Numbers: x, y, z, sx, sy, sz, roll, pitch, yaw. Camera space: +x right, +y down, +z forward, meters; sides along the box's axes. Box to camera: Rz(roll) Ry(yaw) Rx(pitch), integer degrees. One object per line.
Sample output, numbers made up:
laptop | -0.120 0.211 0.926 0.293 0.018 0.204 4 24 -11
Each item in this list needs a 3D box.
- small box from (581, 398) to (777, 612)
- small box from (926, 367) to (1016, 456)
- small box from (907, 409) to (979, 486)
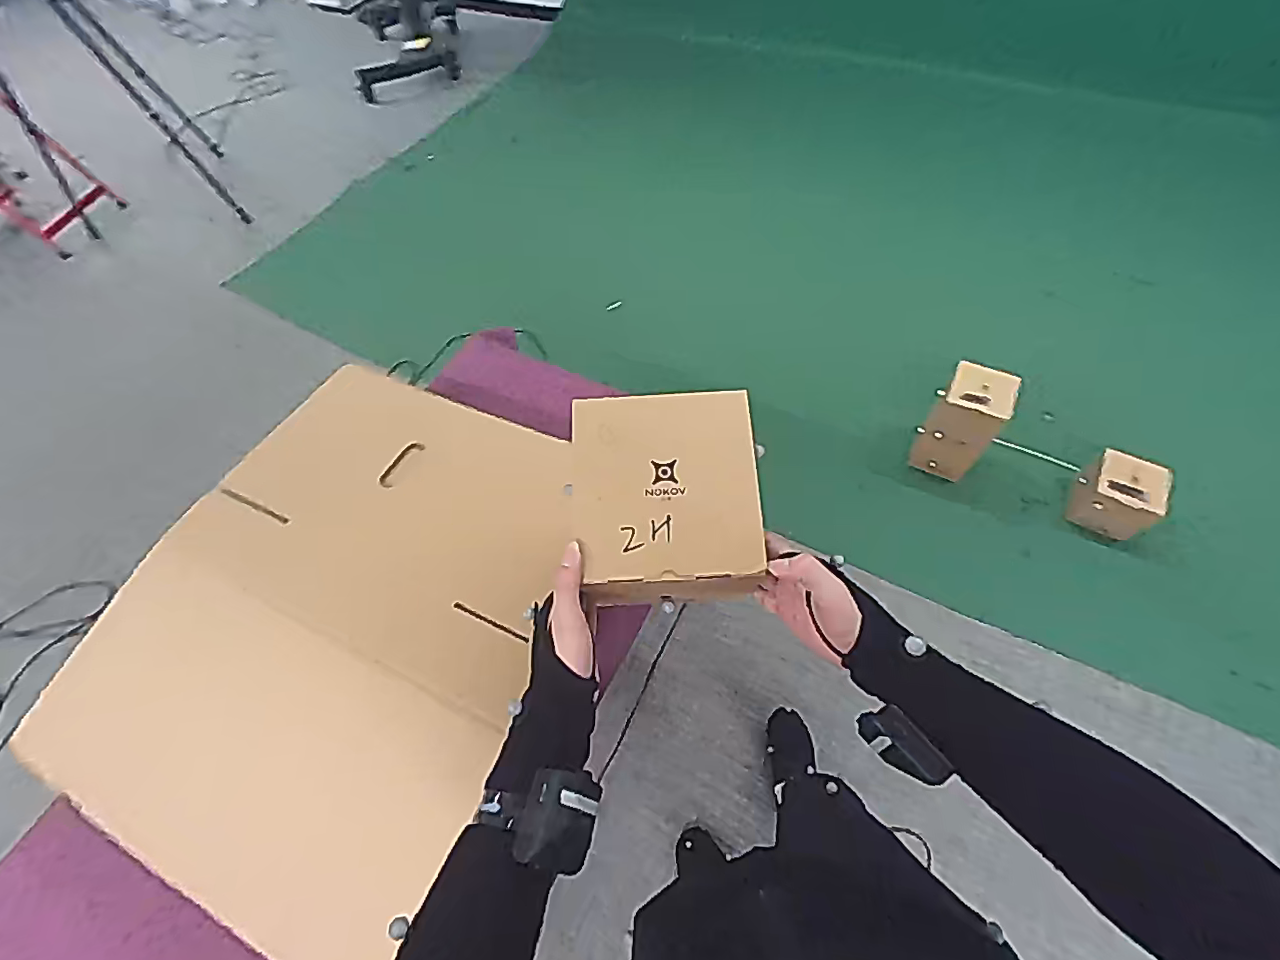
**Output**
small box | 0.034 0.034 0.550 0.168 0.176 0.179 -2 70 3
small box | 0.980 -0.200 1.613 0.168 0.176 0.179 24 62 18
small box | 0.991 -0.114 1.752 0.168 0.176 0.179 24 63 18
